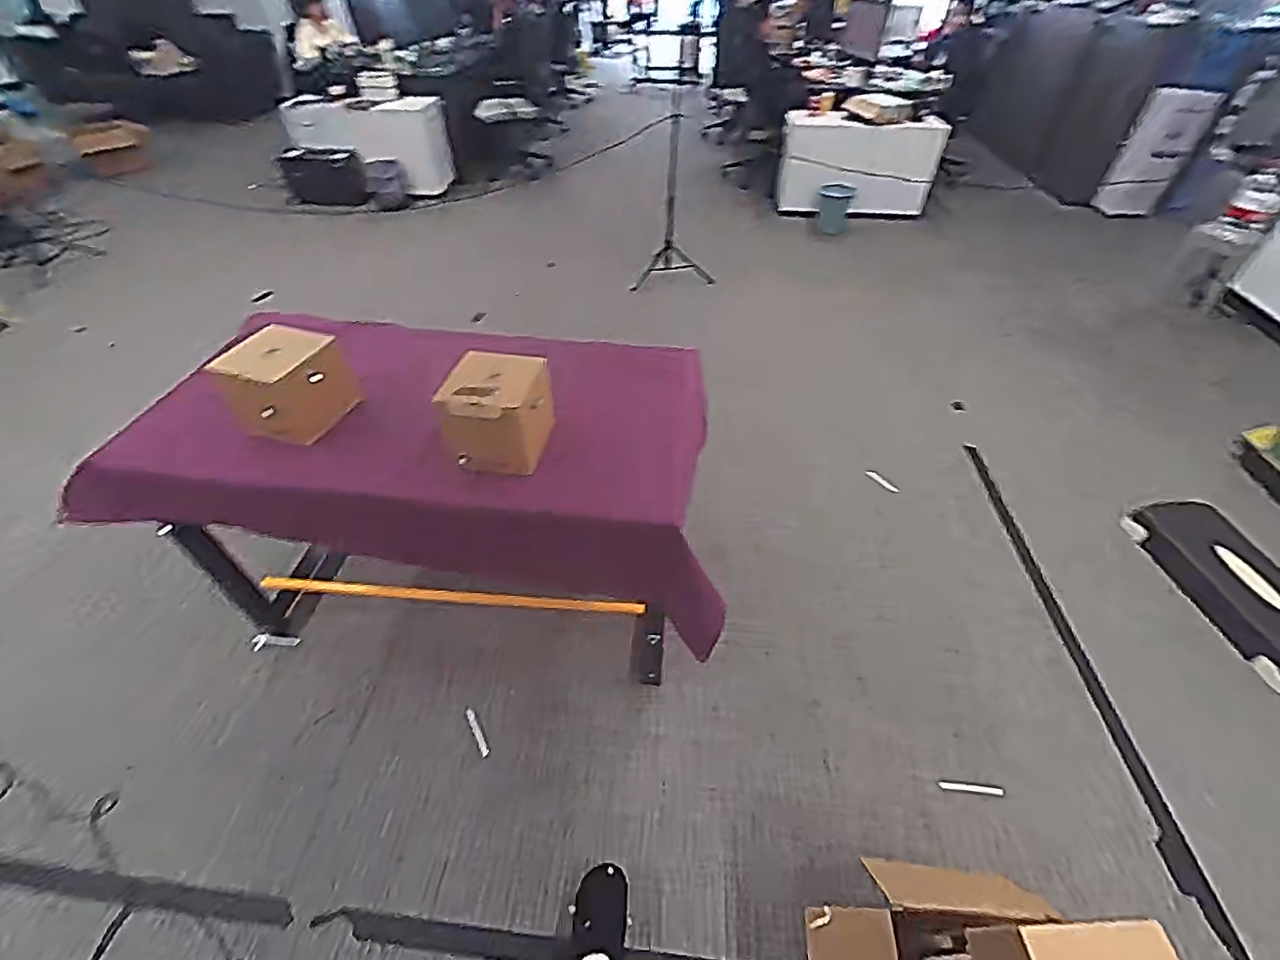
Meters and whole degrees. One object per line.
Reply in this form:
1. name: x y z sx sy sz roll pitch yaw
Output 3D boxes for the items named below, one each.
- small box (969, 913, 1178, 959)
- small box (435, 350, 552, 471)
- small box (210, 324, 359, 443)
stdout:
1. small box: 0.535 0.638 0.646 0.168 0.176 0.179 -4 49 2
2. small box: -0.281 -0.138 1.089 0.168 0.176 0.179 7 45 6
3. small box: -0.737 -0.203 1.148 0.168 0.176 0.179 14 47 11
